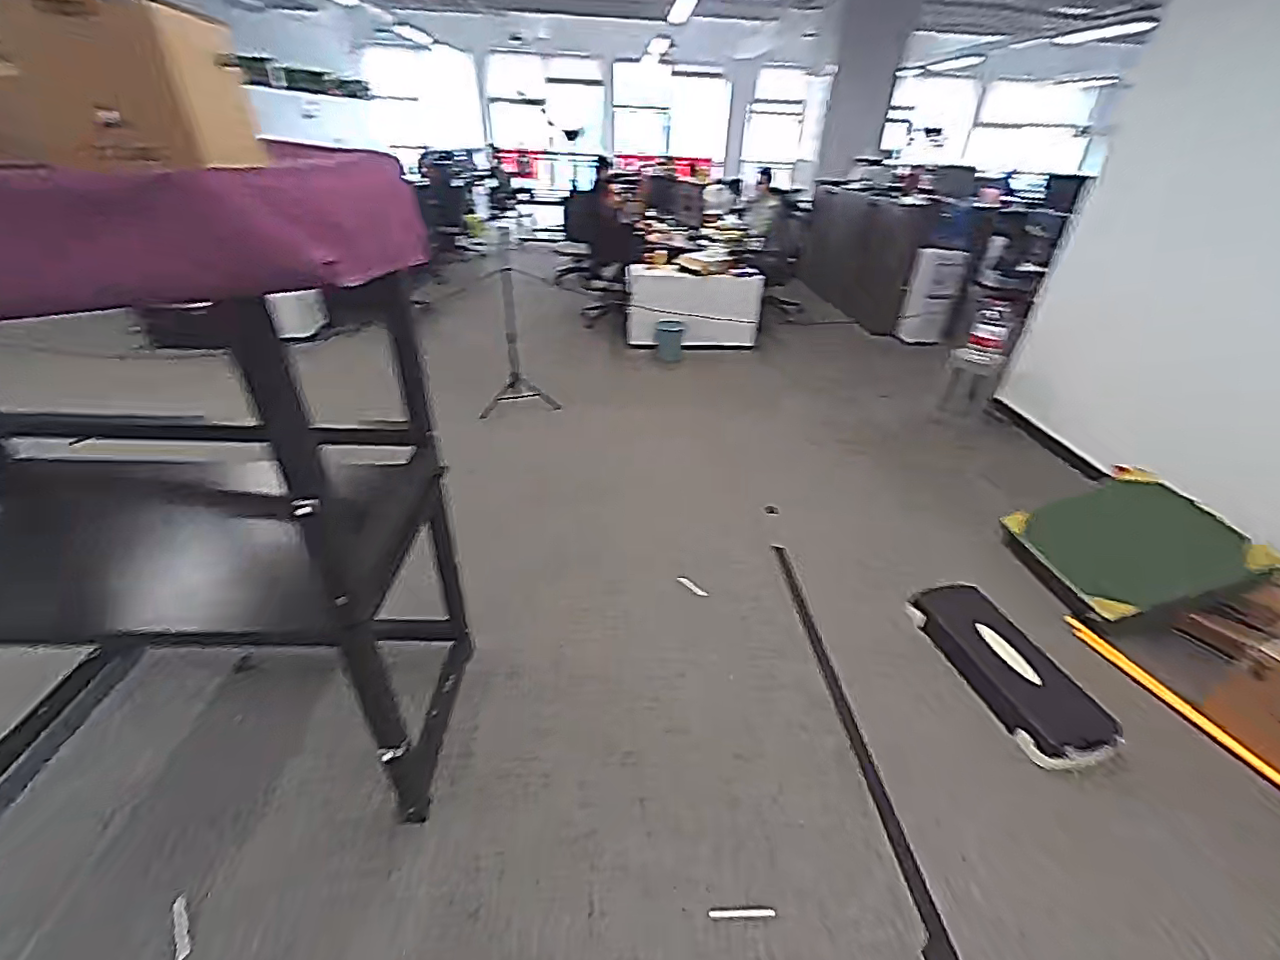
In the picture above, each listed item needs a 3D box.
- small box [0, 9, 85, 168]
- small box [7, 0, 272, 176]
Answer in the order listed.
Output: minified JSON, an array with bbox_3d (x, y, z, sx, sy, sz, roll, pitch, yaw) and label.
[{"bbox_3d":[-0.869,-0.499,0.691,0.168,0.176,0.179,0,32,-6],"label":"small box"},{"bbox_3d":[-0.605,-0.489,0.687,0.168,0.176,0.179,-3,32,-8],"label":"small box"}]
